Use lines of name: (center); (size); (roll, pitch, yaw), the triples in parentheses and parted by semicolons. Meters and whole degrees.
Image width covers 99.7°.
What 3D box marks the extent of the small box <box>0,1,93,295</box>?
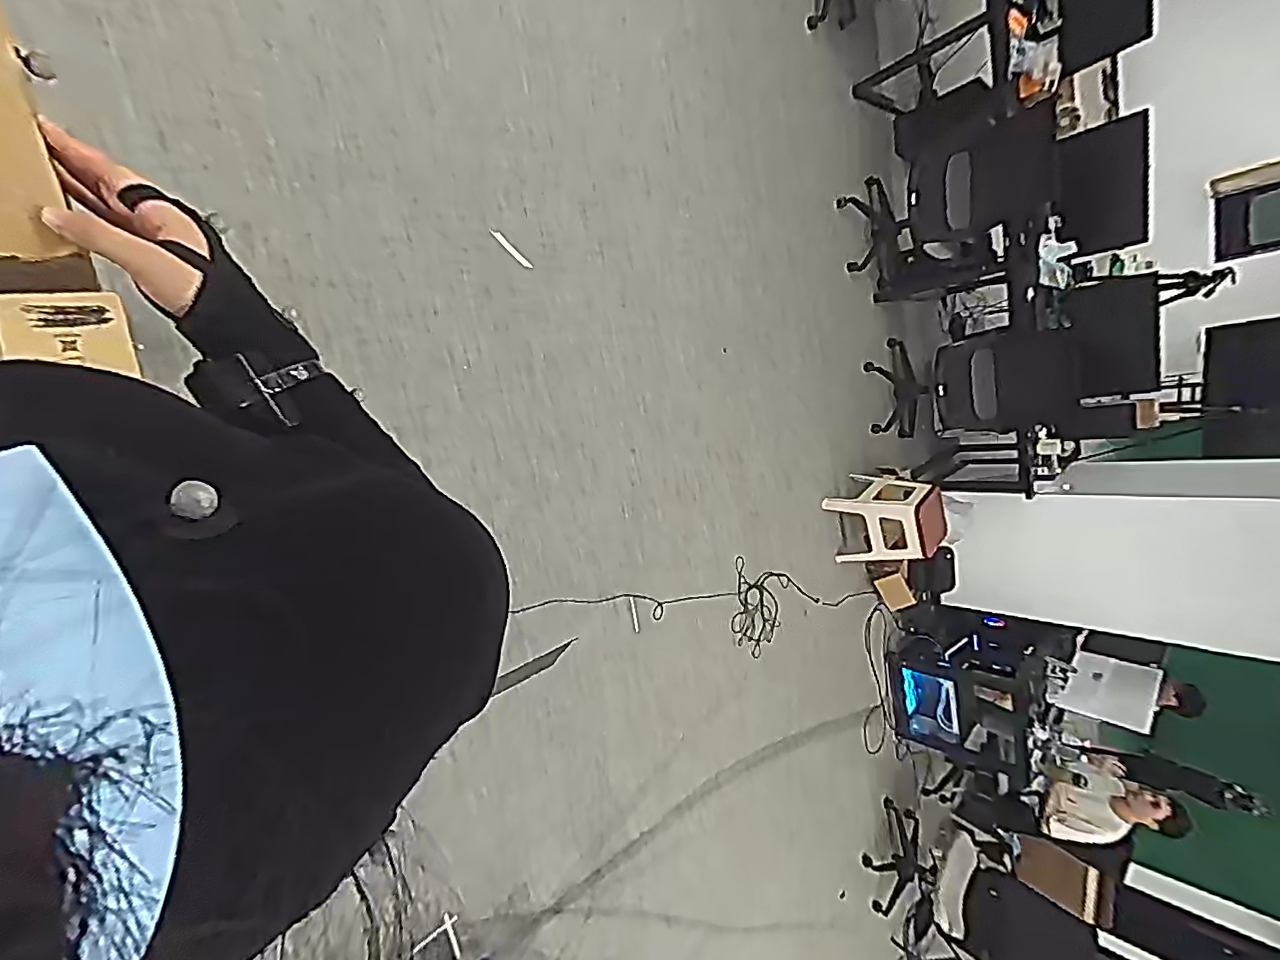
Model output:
small box: (-0.487, -0.219, 0.340); (0.168, 0.176, 0.179); (-18, 109, -39)
